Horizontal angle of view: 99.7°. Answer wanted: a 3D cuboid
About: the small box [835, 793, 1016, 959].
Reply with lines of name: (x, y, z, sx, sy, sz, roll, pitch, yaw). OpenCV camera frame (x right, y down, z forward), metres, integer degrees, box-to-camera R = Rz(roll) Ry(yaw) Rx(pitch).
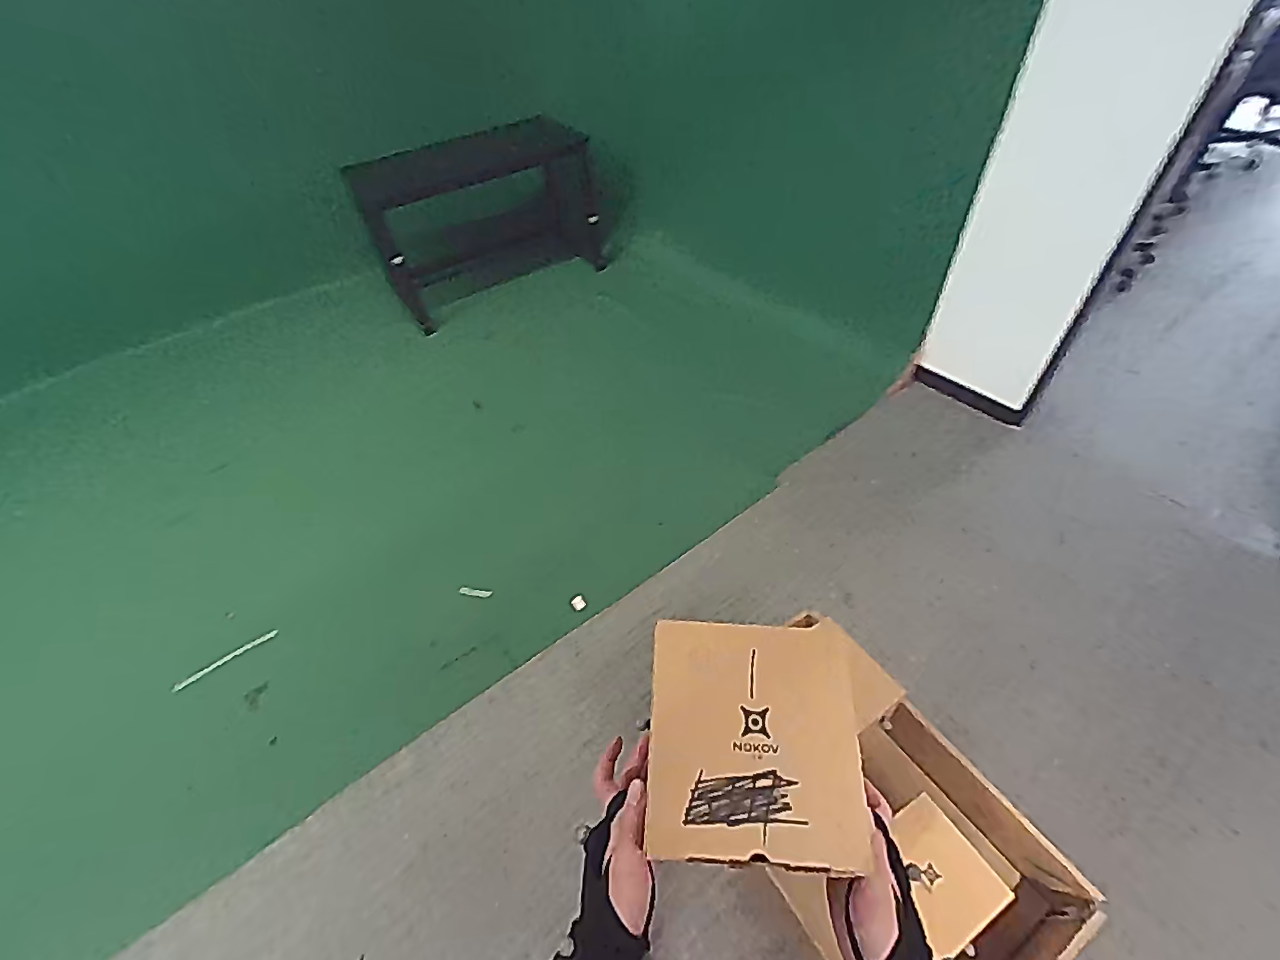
small box: (0.442, 0.646, 0.868, 0.179, 0.176, 0.168, -27, 51, -16)

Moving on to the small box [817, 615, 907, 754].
small box: (0.303, 0.368, 0.911, 0.179, 0.176, 0.168, -28, 51, -18)

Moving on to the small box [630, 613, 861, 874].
small box: (0.082, 0.233, 0.490, 0.168, 0.176, 0.179, 3, 60, 2)
